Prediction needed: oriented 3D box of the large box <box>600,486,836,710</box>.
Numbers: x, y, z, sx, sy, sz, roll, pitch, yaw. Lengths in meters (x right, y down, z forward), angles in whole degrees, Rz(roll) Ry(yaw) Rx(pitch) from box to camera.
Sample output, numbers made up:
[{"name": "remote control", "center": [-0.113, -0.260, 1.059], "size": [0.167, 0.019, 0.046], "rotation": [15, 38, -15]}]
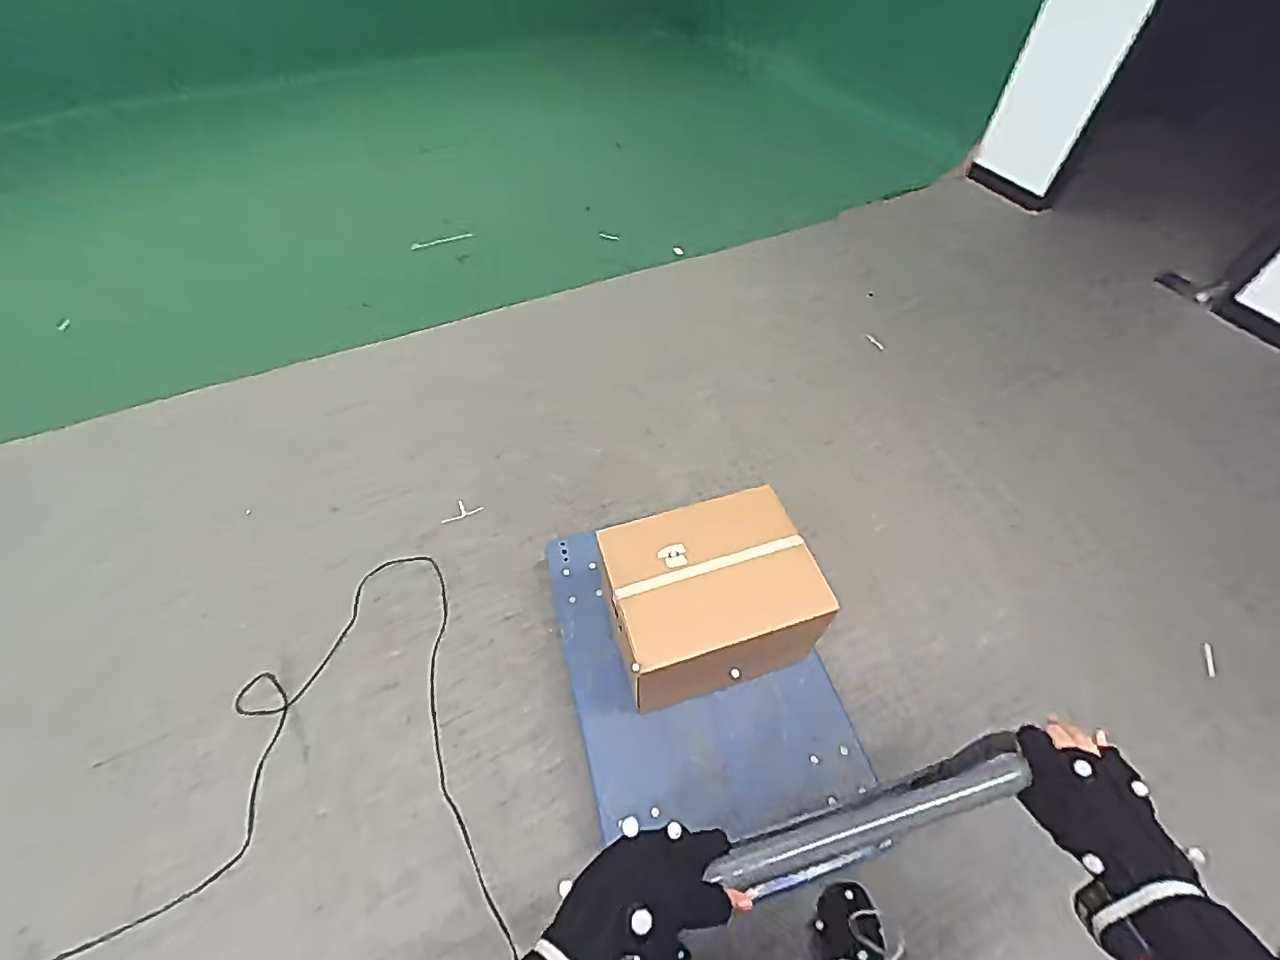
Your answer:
[{"name": "large box", "center": [0.151, 0.267, 1.210], "size": [0.408, 0.320, 0.320], "rotation": [-15, 54, -10]}]
